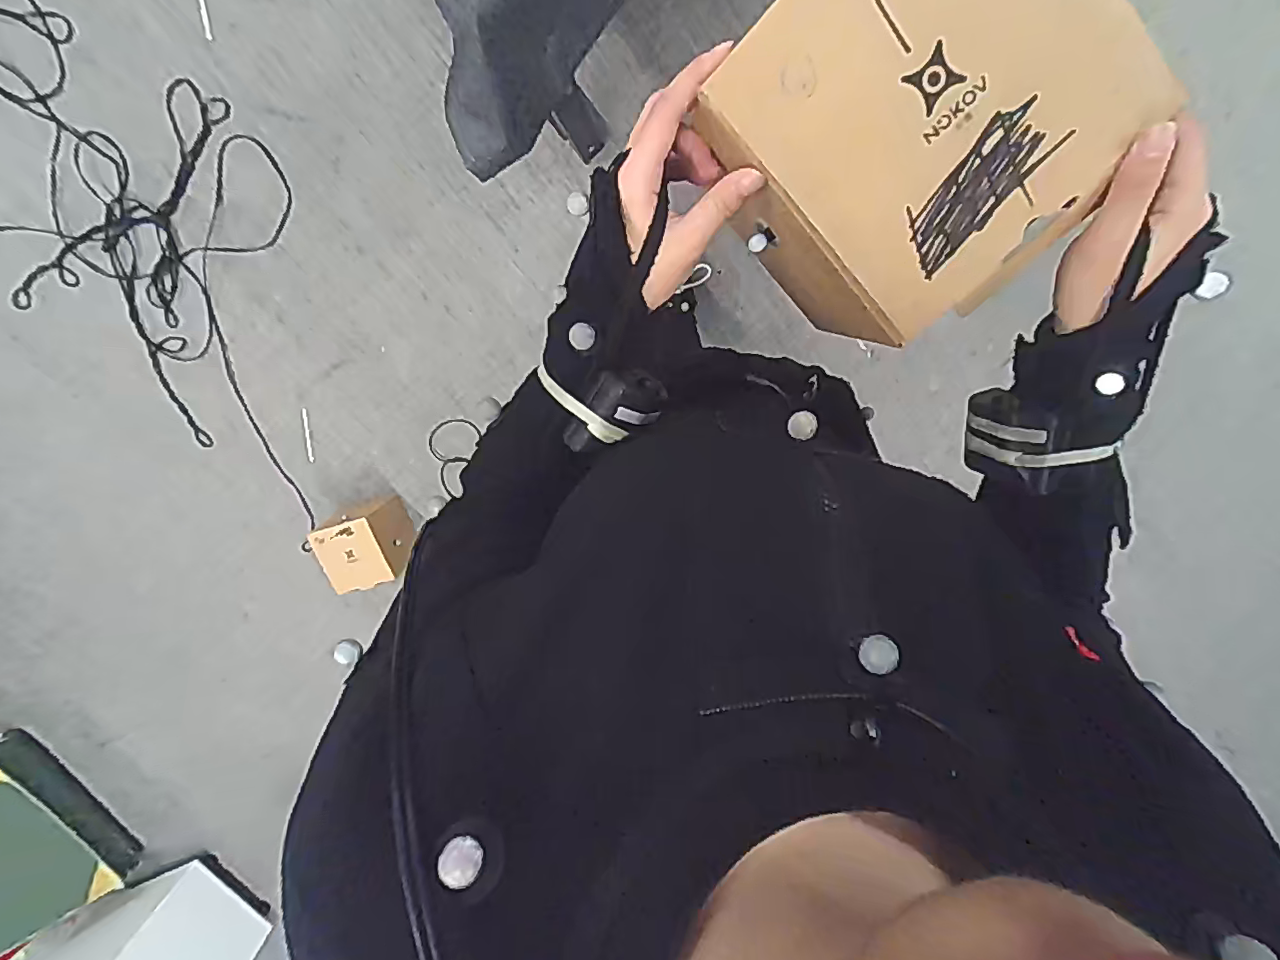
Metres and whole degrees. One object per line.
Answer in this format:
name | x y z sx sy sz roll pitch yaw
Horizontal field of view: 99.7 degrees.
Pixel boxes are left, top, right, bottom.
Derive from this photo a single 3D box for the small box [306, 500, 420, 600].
small box | -0.695 0.174 1.383 0.168 0.176 0.179 -16 107 8
